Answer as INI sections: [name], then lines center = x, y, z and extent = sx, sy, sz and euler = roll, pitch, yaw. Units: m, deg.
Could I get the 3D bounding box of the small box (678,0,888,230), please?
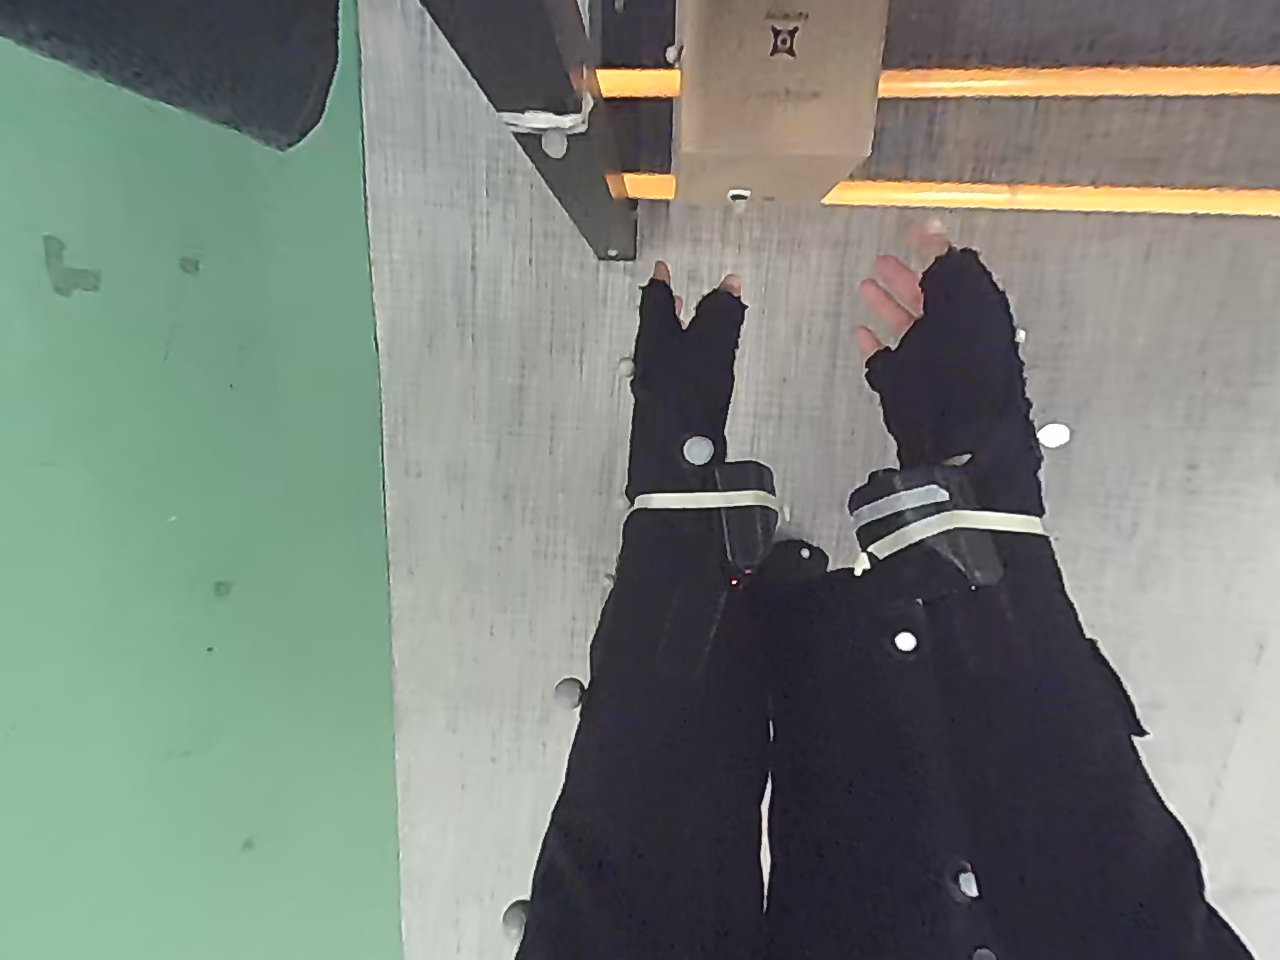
[small box]
center = 0.124, -0.364, 0.536
extent = 0.168, 0.176, 0.179
euler = 2, 102, 2
